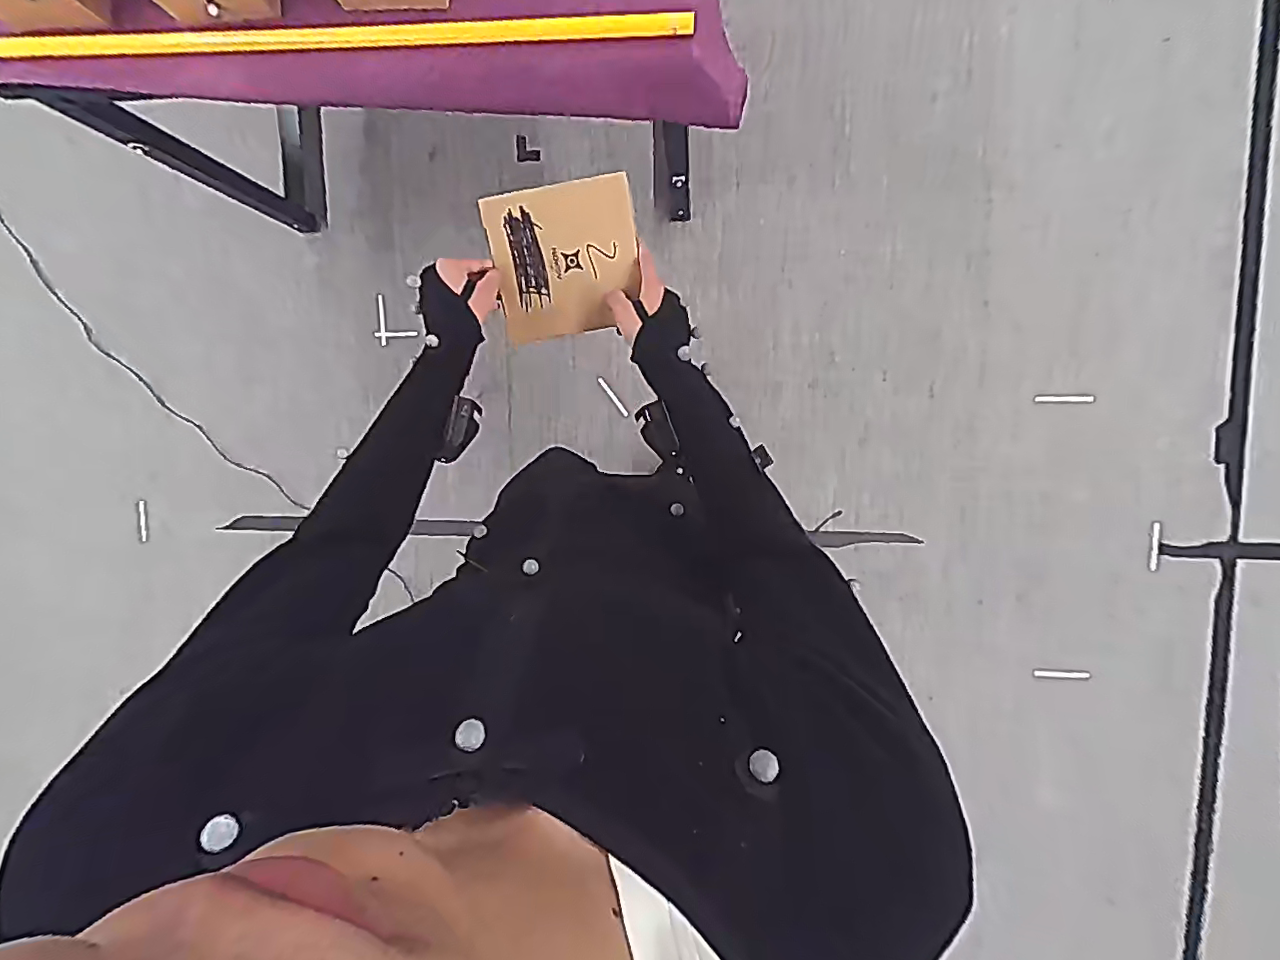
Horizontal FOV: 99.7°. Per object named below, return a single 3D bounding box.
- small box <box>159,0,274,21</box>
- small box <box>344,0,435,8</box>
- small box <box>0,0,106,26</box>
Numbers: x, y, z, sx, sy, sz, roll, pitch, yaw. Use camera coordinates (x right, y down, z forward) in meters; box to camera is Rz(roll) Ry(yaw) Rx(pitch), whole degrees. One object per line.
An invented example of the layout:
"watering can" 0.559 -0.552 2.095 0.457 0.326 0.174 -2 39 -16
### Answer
"small box" -0.674 -0.827 0.798 0.179 0.176 0.168 0 96 5
"small box" -0.389 -0.825 0.773 0.179 0.176 0.168 4 94 6
"small box" -0.968 -0.836 0.822 0.179 0.176 0.168 0 95 3
